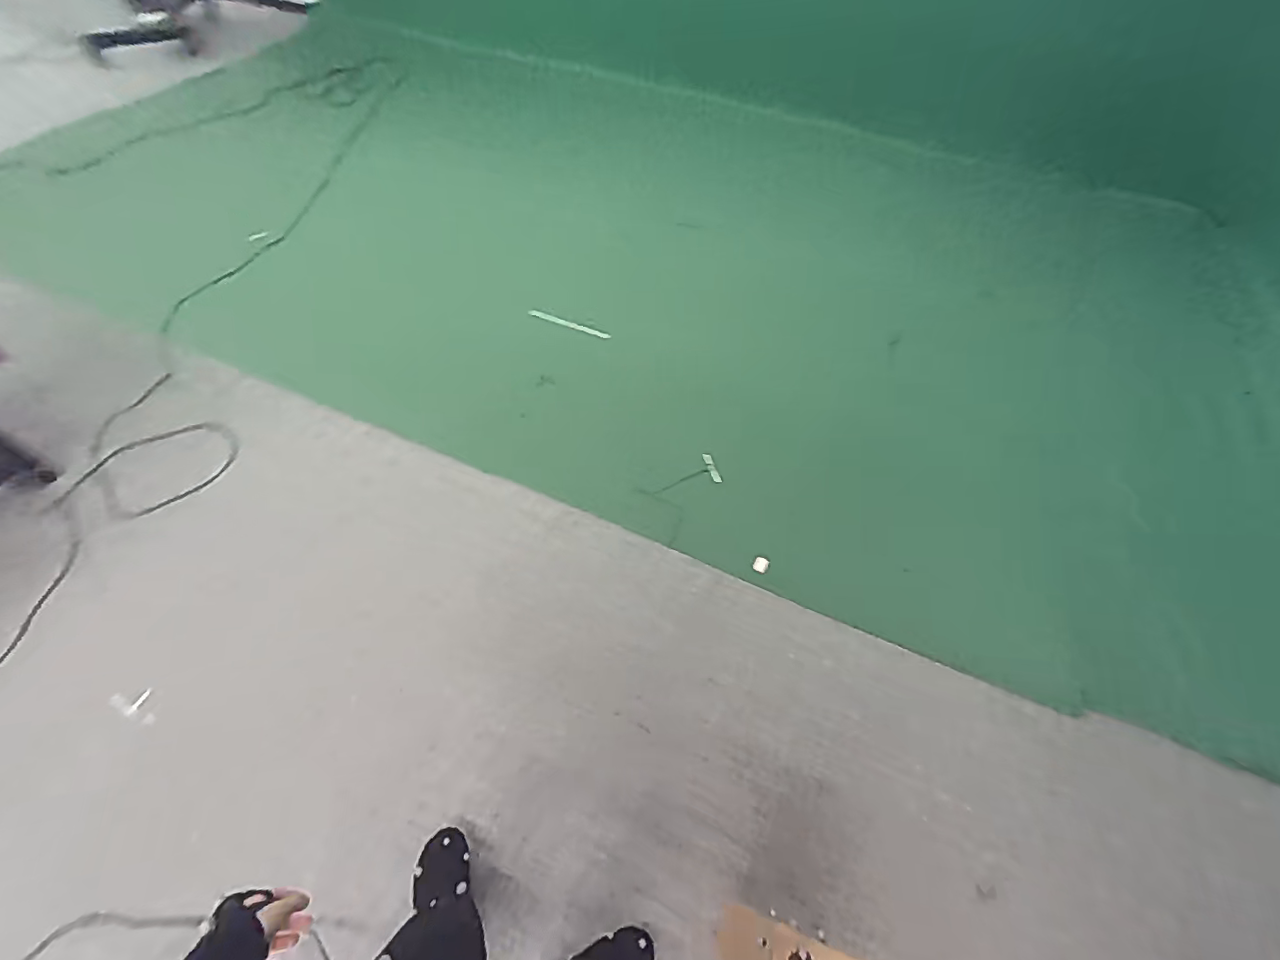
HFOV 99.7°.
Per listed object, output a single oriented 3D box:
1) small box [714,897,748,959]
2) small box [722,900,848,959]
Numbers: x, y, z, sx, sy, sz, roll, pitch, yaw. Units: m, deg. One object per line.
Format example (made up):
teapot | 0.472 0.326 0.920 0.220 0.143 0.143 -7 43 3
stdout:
small box | 0.242 0.952 1.055 0.168 0.176 0.179 18 56 11
small box | 0.235 0.857 0.923 0.168 0.176 0.179 19 55 11
